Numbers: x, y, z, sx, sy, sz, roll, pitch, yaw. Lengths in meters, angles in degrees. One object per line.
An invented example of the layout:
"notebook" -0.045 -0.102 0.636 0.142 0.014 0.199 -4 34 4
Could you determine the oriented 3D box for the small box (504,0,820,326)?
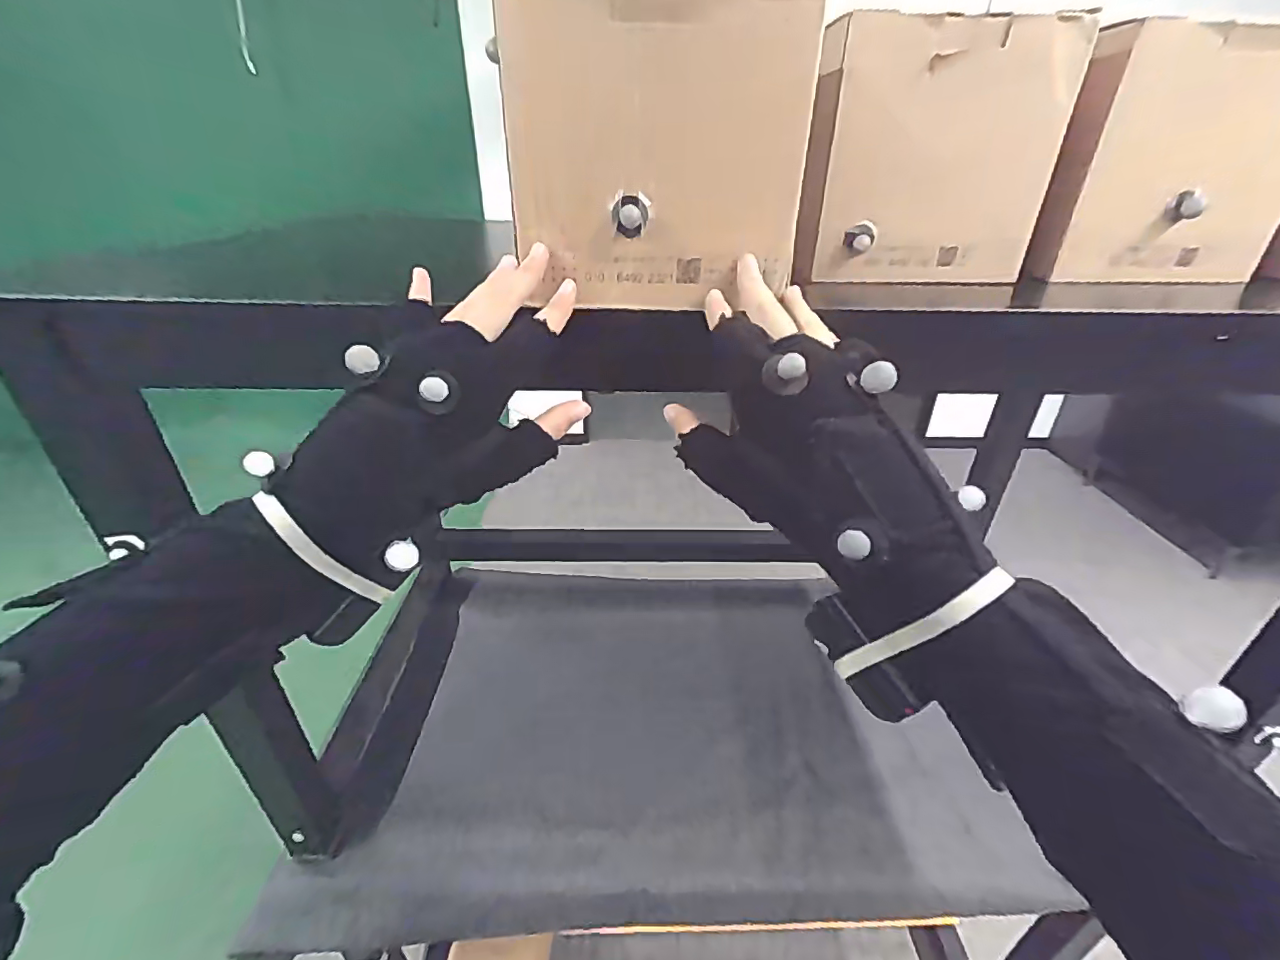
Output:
"small box" 0.010 -0.216 0.384 0.168 0.176 0.179 1 30 0
